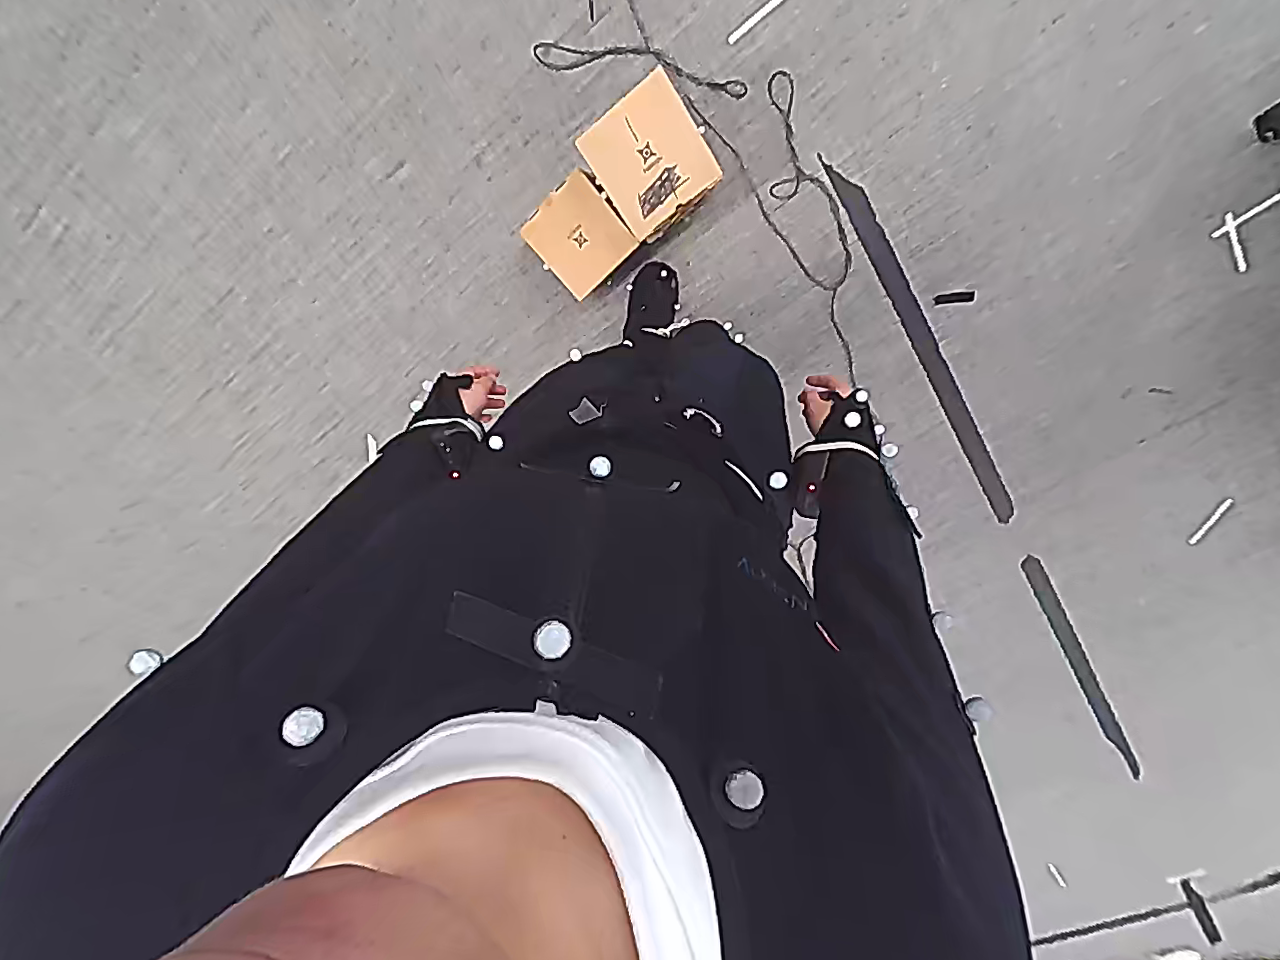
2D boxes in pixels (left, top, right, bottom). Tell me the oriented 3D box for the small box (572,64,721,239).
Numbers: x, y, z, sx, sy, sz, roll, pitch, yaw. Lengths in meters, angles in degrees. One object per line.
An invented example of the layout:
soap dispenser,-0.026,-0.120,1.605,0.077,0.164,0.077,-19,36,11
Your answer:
small box,0.016,-0.527,0.892,0.168,0.176,0.179,-32,109,16
